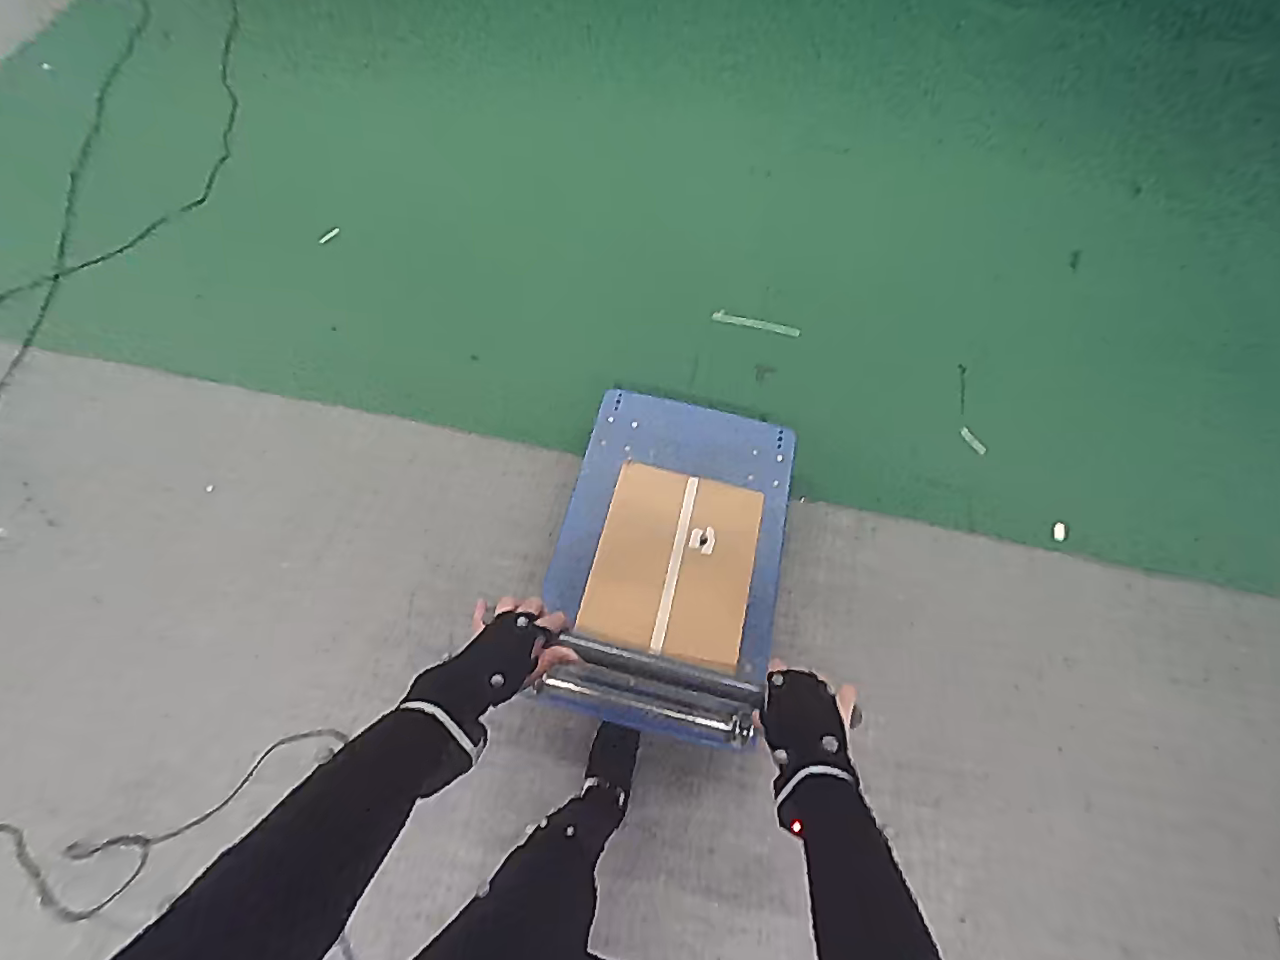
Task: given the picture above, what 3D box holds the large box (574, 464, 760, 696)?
[{"bbox_3d":[0.061,0.235,1.213,0.320,0.320,0.408,13,65,3],"label":"large box"}]
